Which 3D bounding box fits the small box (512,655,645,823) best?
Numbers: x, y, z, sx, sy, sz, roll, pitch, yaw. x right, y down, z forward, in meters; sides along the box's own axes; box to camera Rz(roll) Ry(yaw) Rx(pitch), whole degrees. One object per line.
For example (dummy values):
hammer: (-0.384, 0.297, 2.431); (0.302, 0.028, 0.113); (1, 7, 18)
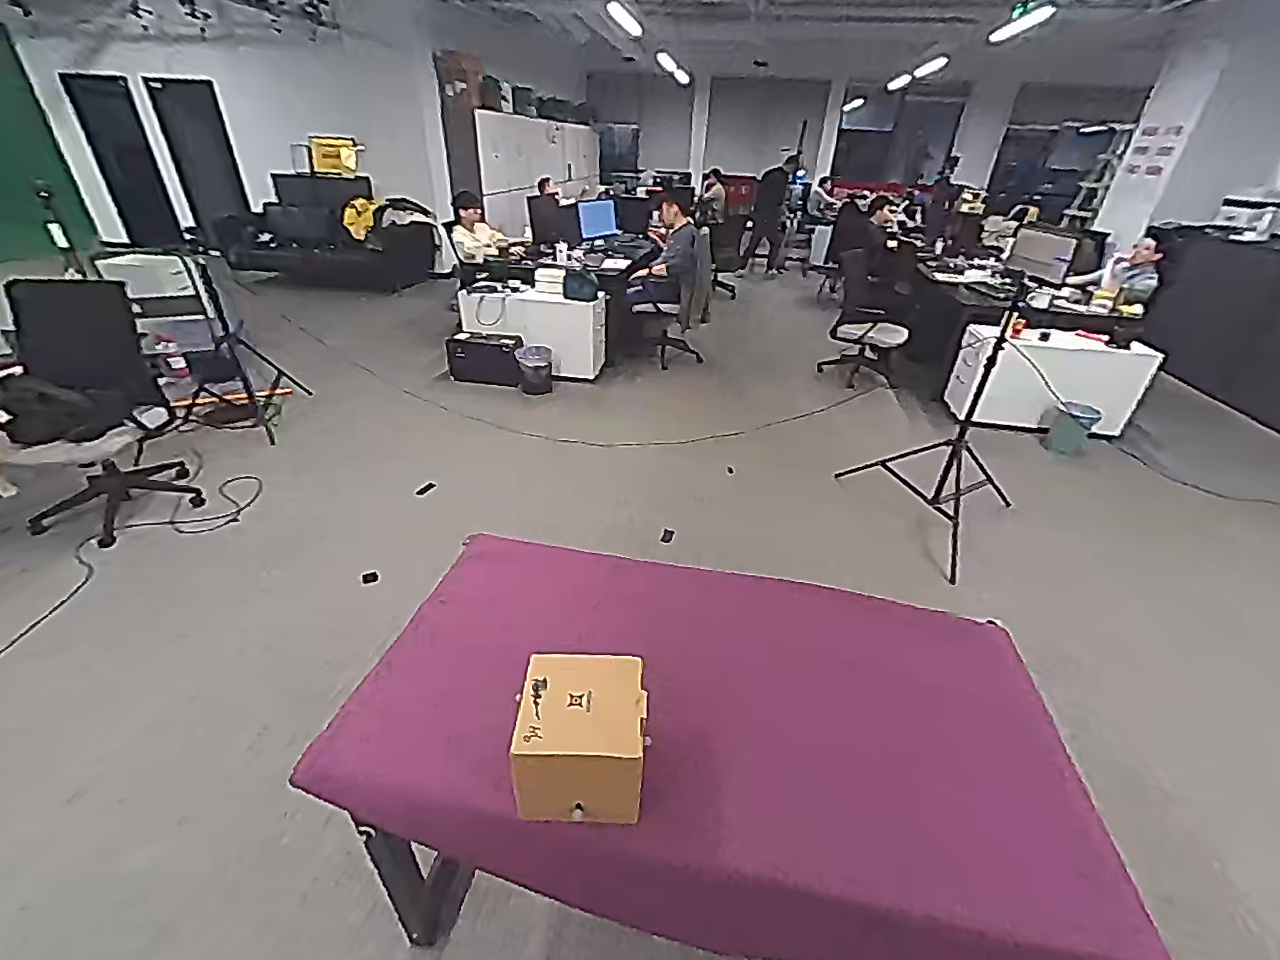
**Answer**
small box: (-0.085, 0.388, 0.814); (0.179, 0.176, 0.168); (3, 30, -1)
